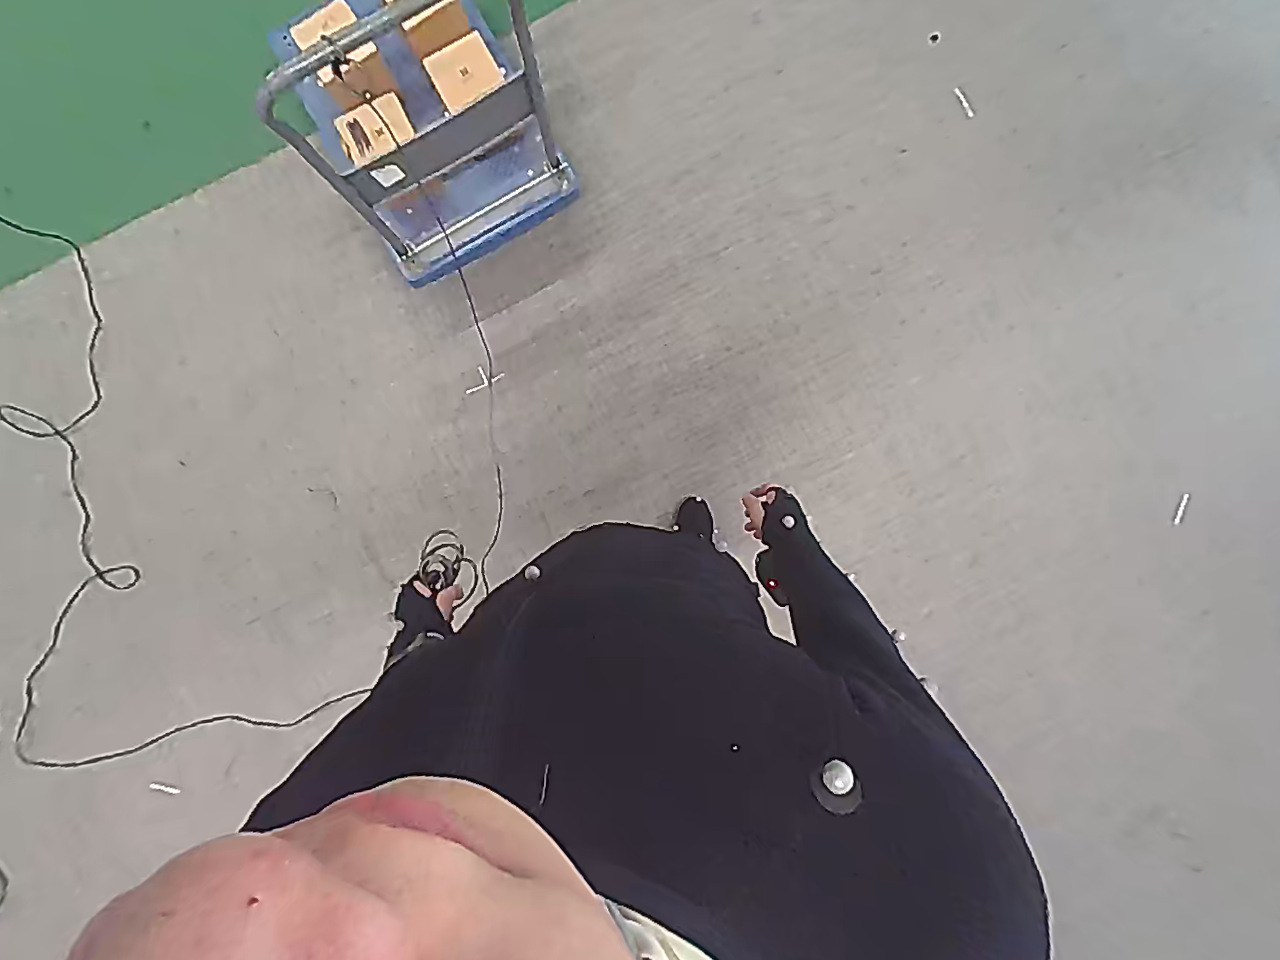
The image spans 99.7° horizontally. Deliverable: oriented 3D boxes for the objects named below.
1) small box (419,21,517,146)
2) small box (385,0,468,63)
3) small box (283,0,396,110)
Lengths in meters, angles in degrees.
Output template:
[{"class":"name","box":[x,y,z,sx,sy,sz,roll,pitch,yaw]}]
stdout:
[{"class":"small box","box":[-0.451,-1.049,1.444,0.168,0.176,0.179,-29,89,-1]},{"class":"small box","box":[-0.584,-1.283,1.454,0.168,0.176,0.179,-33,89,0]},{"class":"small box","box":[-0.794,-1.143,1.451,0.168,0.176,0.179,-33,88,-1]}]
